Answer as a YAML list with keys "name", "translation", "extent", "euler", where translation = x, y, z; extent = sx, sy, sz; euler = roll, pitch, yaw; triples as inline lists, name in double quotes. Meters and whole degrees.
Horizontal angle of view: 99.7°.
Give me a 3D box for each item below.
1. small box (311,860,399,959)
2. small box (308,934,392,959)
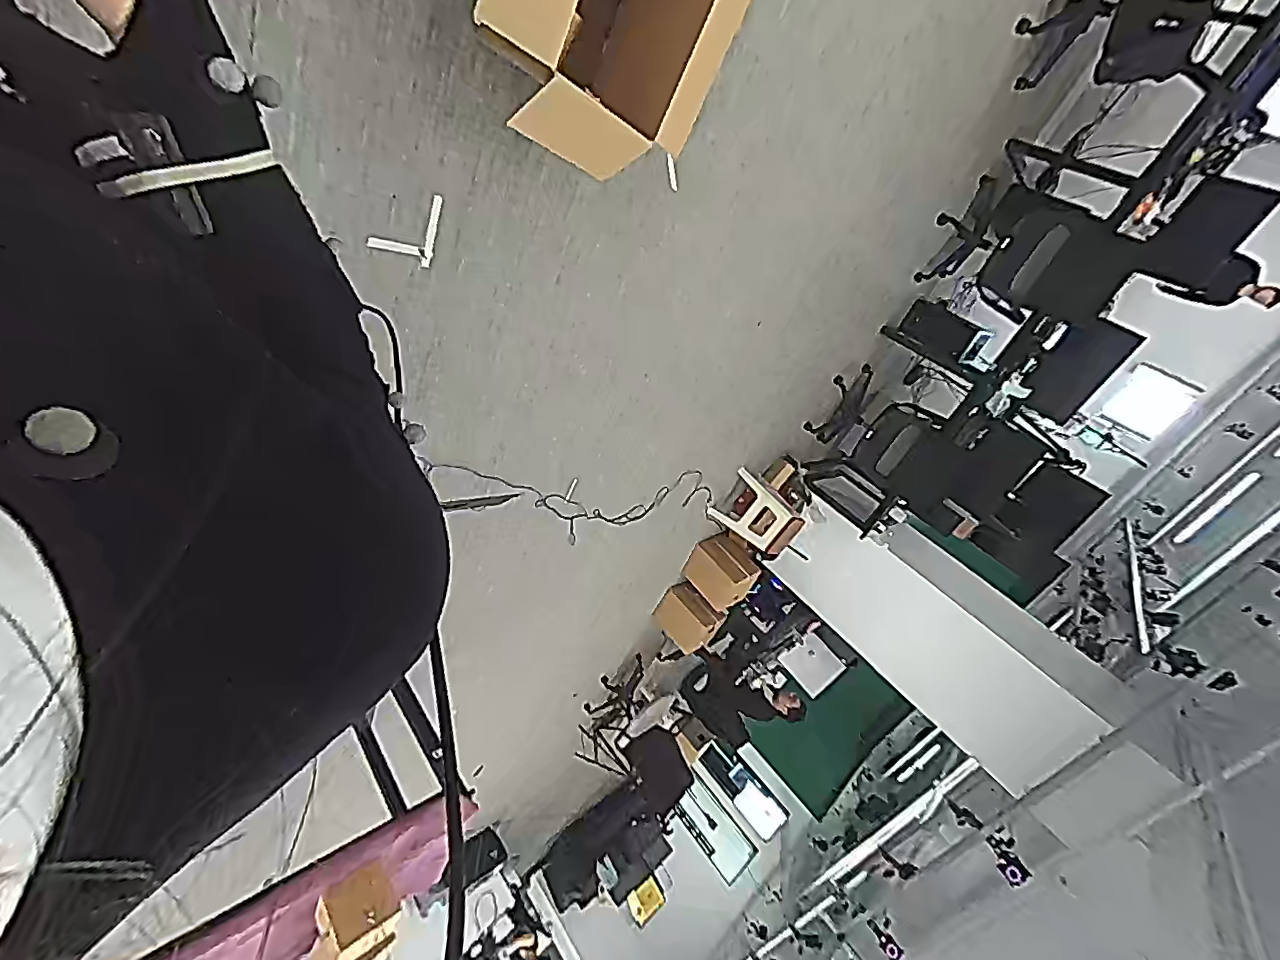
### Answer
- name: "small box"
  translation: [-0.842, 1.278, 1.588]
  extent: [0.179, 0.176, 0.168]
  euler: [-10, 135, -48]
- name: "small box"
  translation: [-0.931, 1.501, 1.724]
  extent: [0.179, 0.168, 0.176]
  euler: [-13, 138, -56]
